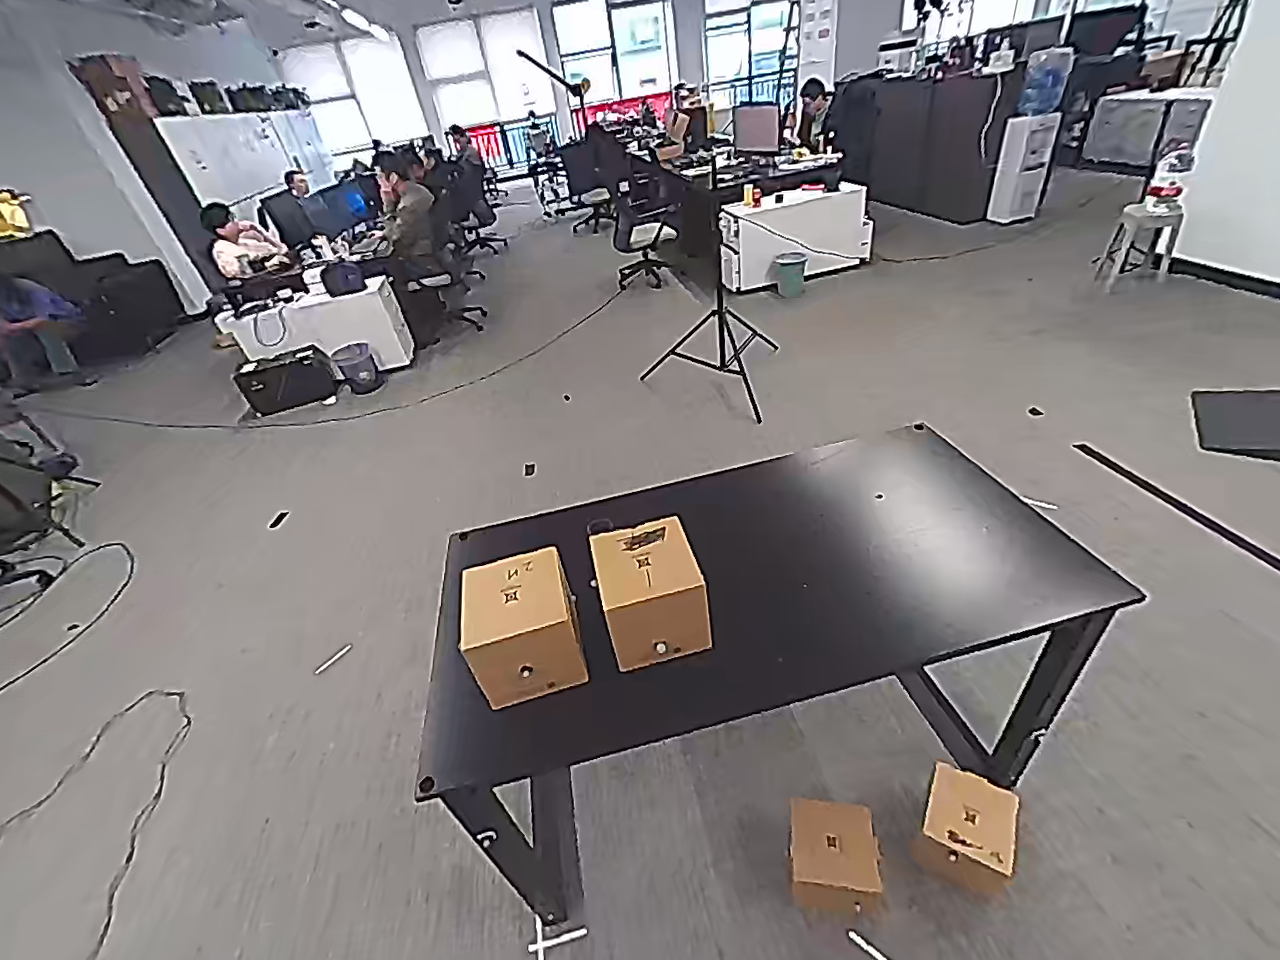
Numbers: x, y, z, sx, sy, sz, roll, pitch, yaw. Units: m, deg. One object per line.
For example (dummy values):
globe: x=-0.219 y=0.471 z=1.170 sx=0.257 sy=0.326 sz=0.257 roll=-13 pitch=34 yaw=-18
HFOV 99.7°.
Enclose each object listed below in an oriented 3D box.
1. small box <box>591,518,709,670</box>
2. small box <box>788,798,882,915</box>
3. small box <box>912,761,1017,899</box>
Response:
small box: x=0.016 y=0.198 z=0.951 sx=0.168 sy=0.176 sz=0.179 roll=-14 pitch=37 yaw=-4
small box: x=0.429 y=0.848 z=1.216 sx=0.179 sy=0.176 sz=0.168 roll=-2 pitch=37 yaw=13
small box: x=0.726 y=0.787 z=1.218 sx=0.168 sy=0.176 sz=0.179 roll=14 pitch=43 yaw=30
